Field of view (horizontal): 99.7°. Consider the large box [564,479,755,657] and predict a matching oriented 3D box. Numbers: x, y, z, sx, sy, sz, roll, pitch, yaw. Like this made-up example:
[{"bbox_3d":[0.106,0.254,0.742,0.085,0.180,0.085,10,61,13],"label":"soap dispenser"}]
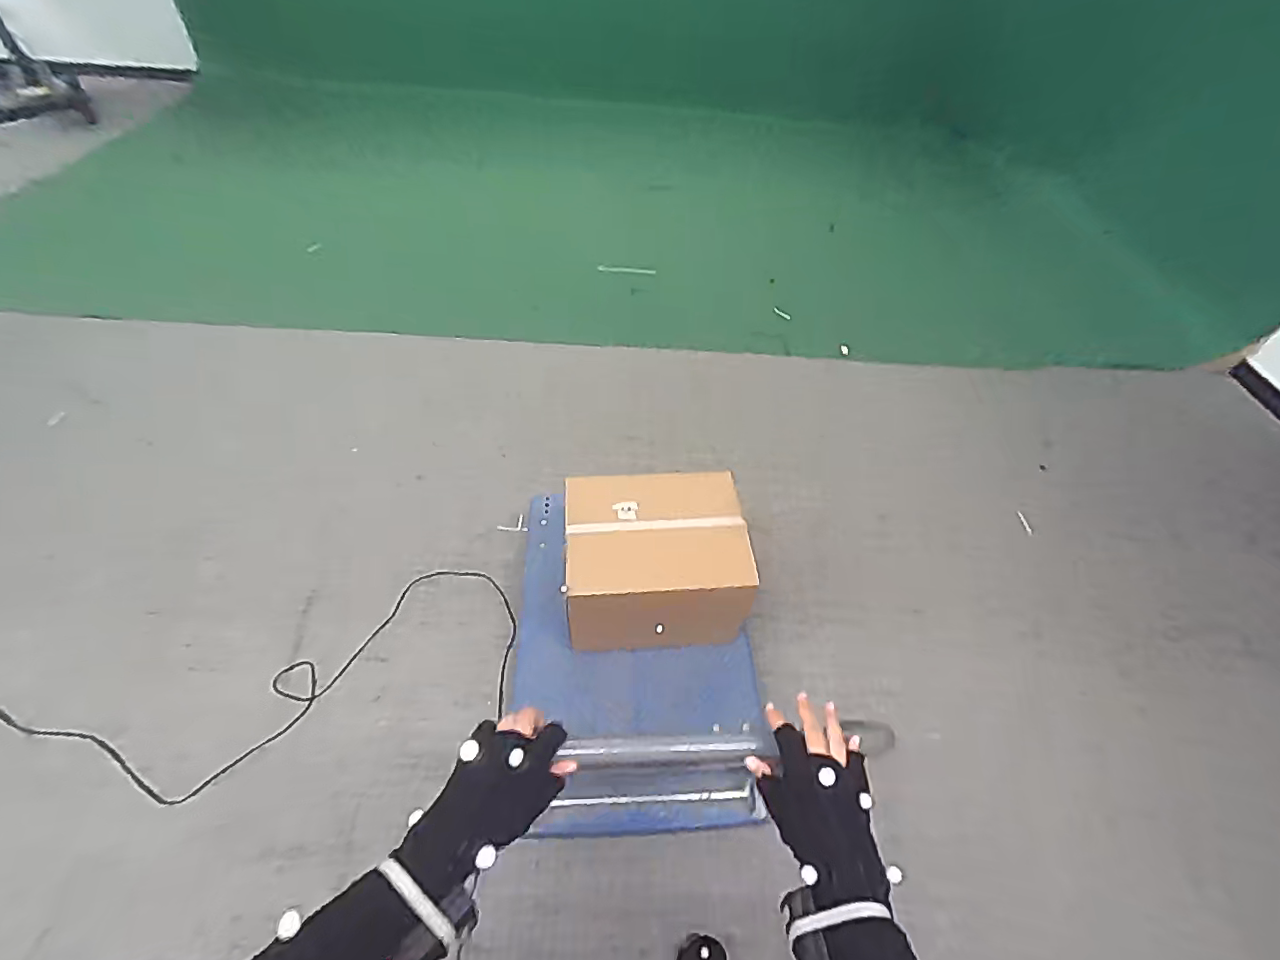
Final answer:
[{"bbox_3d":[0.027,0.218,1.318,0.408,0.320,0.320,-2,50,-5],"label":"large box"}]
